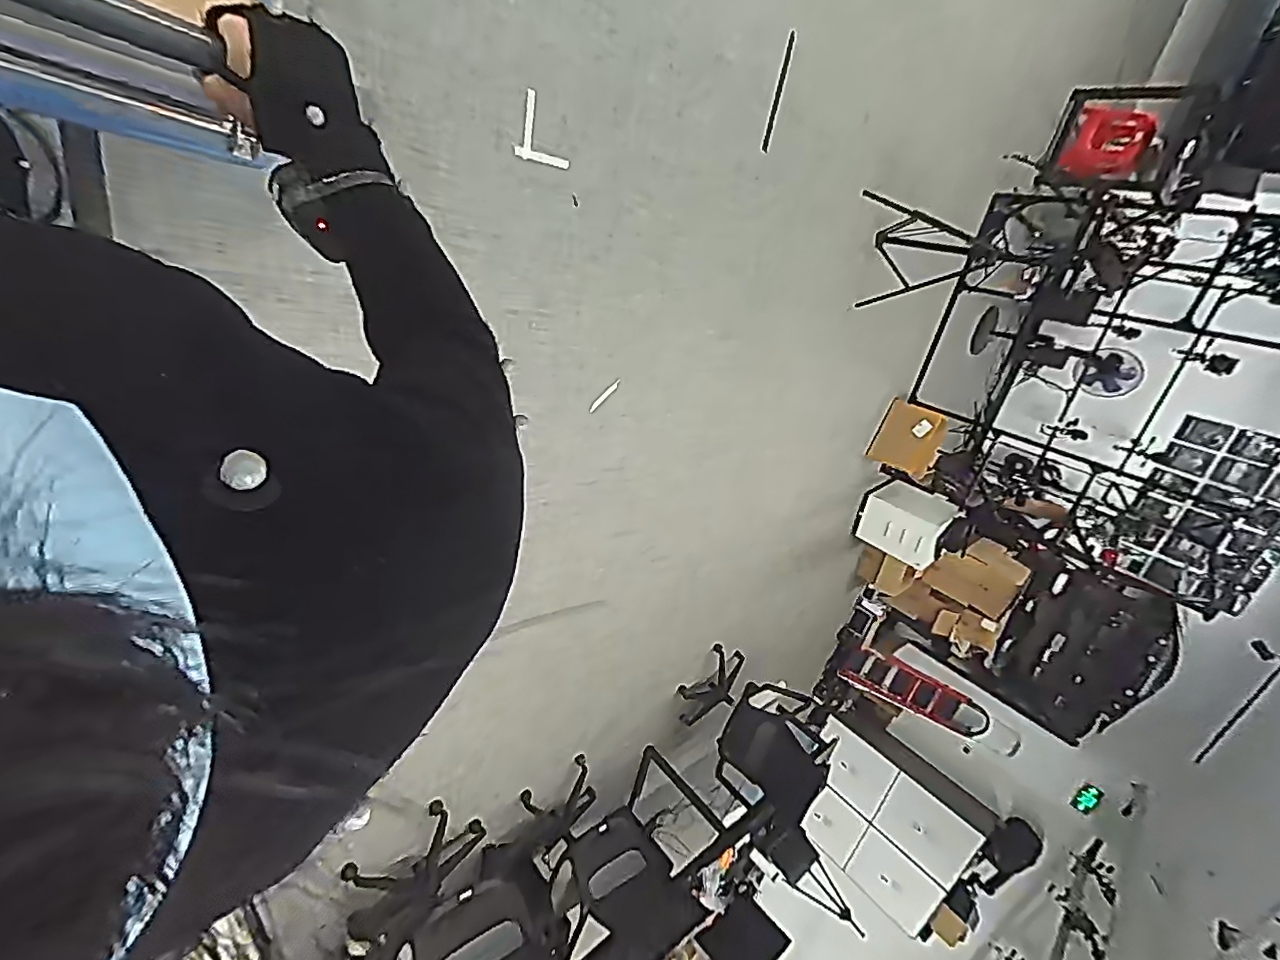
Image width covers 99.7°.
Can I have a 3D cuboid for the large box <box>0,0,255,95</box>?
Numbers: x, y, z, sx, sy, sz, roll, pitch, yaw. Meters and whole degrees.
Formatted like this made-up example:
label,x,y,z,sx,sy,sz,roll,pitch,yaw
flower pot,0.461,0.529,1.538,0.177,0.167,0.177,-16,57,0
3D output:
label,x,y,z,sx,sy,sz,roll,pitch,yaw
large box,-0.707,-0.691,0.604,0.408,0.320,0.320,-6,119,-46
